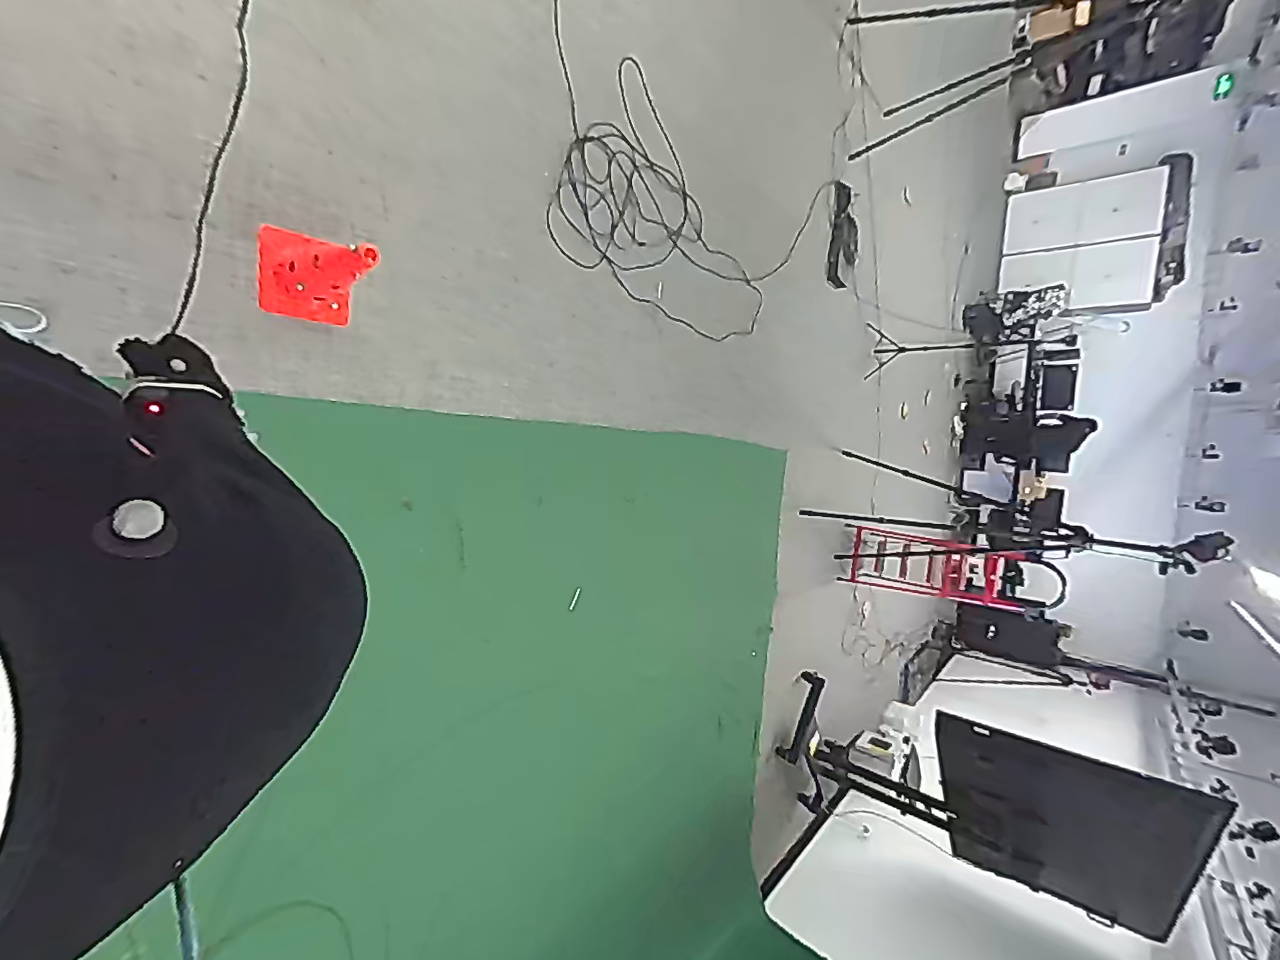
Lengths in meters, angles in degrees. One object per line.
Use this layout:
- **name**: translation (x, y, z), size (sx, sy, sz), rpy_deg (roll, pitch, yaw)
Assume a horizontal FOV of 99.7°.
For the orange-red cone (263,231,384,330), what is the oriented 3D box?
- **orange-red cone**: translation (-0.676, -0.468, 1.213), size (0.198, 0.360, 0.199), rpy_deg (0, 94, -50)
